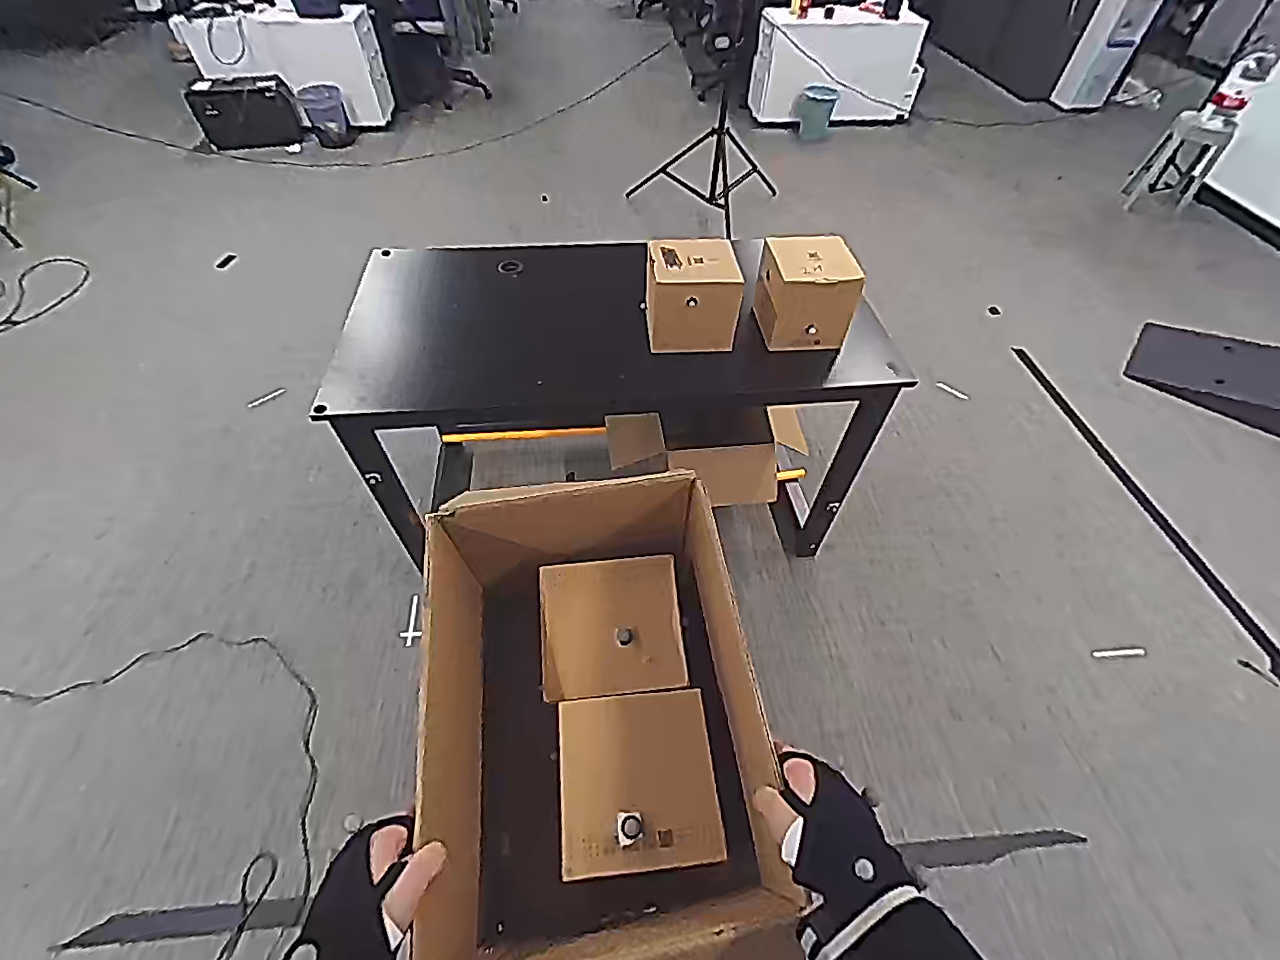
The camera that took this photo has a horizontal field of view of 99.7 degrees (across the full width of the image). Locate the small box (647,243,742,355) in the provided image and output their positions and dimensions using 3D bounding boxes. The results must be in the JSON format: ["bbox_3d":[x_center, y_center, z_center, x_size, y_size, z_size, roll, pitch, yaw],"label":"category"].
[{"bbox_3d":[0.106,-0.381,1.148,0.179,0.176,0.168,-2,51,-4],"label":"small box"}]

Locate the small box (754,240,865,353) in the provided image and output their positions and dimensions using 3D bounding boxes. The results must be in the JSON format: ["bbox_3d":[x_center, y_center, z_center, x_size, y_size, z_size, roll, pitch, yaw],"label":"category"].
[{"bbox_3d":[0.351,-0.394,1.162,0.168,0.176,0.179,-3,51,-3],"label":"small box"}]
